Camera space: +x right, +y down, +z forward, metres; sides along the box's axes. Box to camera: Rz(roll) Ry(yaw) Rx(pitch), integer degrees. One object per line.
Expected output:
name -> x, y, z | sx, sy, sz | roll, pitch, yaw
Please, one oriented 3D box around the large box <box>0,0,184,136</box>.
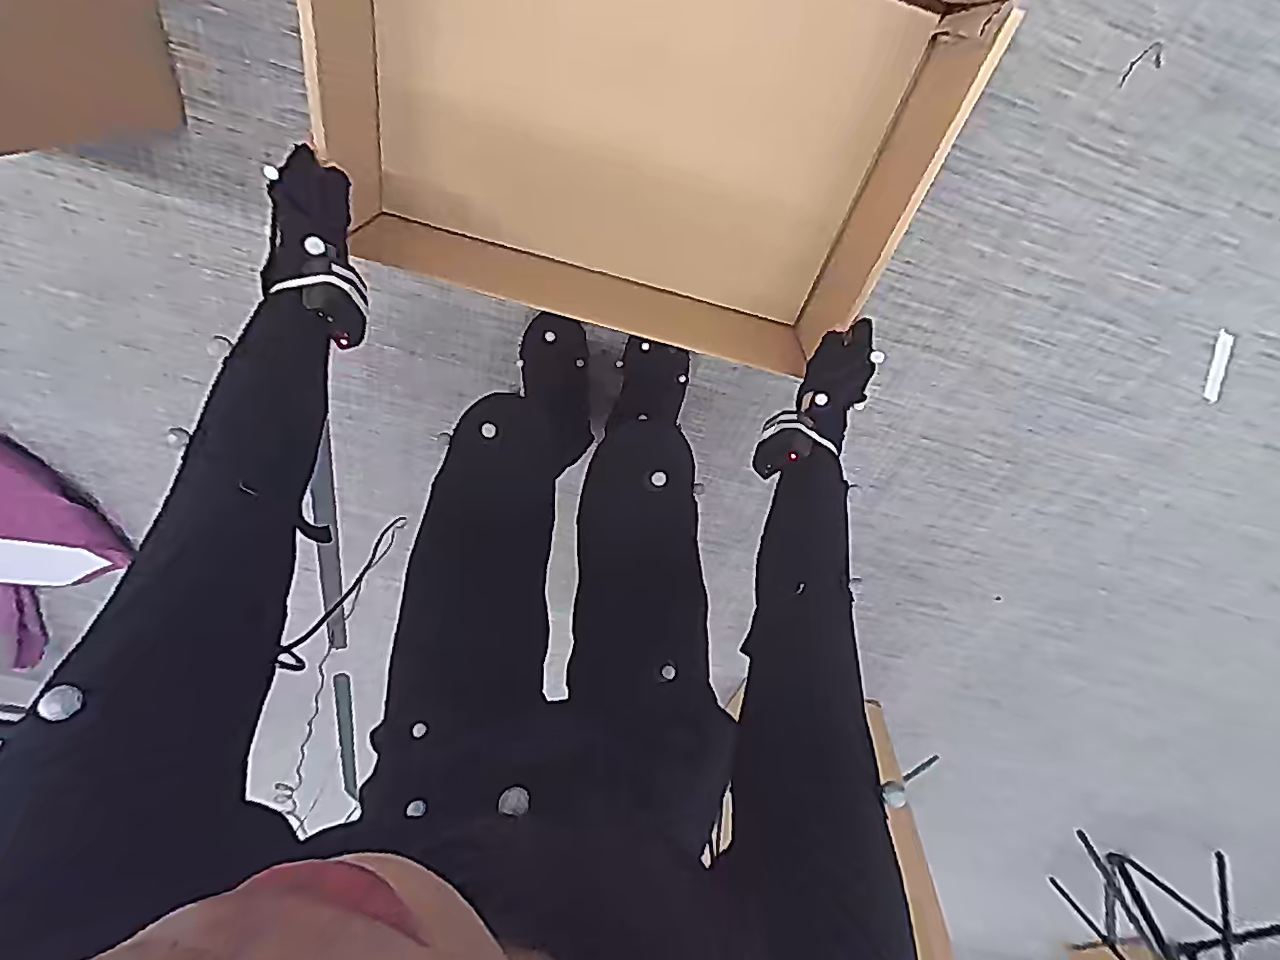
large box -> -0.752, -0.530, 0.471 | 0.408, 0.320, 0.320 | 10, 130, -6
